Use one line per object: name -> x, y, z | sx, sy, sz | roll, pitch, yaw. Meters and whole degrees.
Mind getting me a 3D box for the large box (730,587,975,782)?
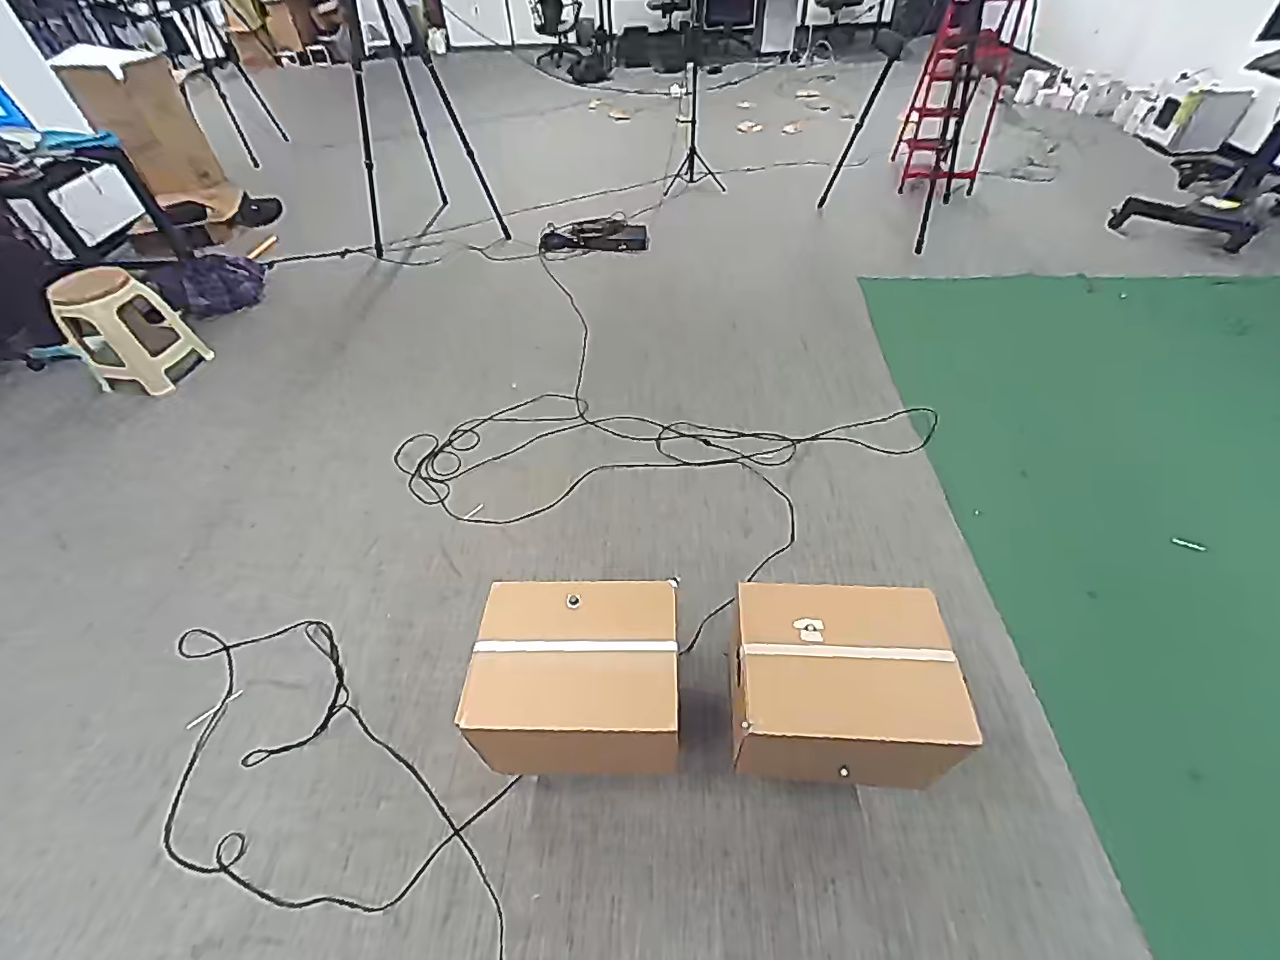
large box -> 0.412, 0.445, 1.172 | 0.408, 0.320, 0.320 | 1, 47, 5
